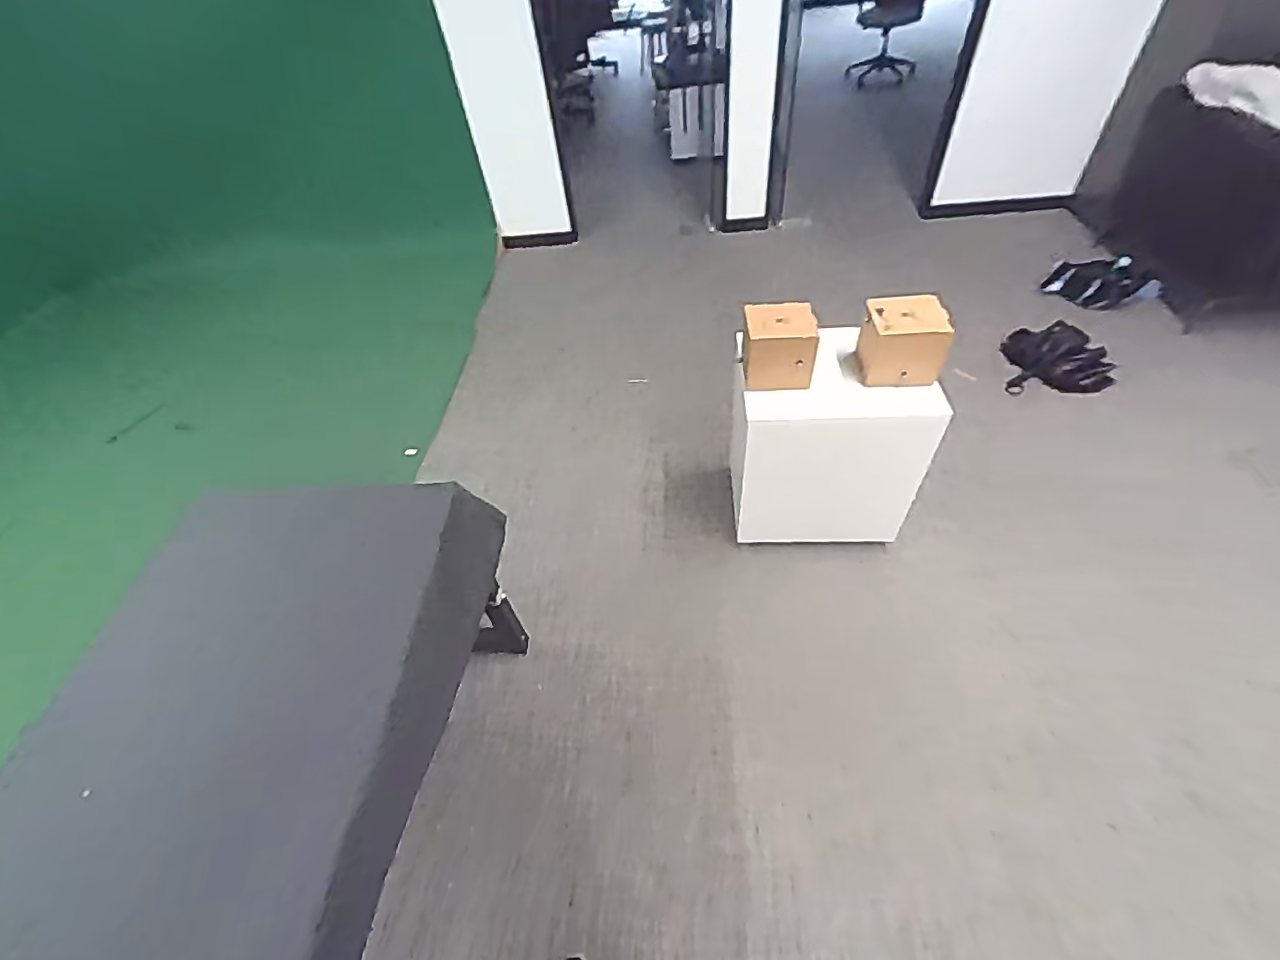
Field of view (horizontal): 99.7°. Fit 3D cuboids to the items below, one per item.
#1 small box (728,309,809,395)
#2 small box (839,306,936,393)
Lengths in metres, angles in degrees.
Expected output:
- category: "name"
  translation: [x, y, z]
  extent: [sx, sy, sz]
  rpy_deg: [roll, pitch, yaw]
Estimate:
- category: "small box"
  translation: [0.340, -0.344, 1.463]
  extent: [0.179, 0.176, 0.168]
  rpy_deg: [-2, 46, 2]
- category: "small box"
  translation: [0.653, -0.347, 1.447]
  extent: [0.179, 0.176, 0.168]
  rpy_deg: [1, 48, 4]
